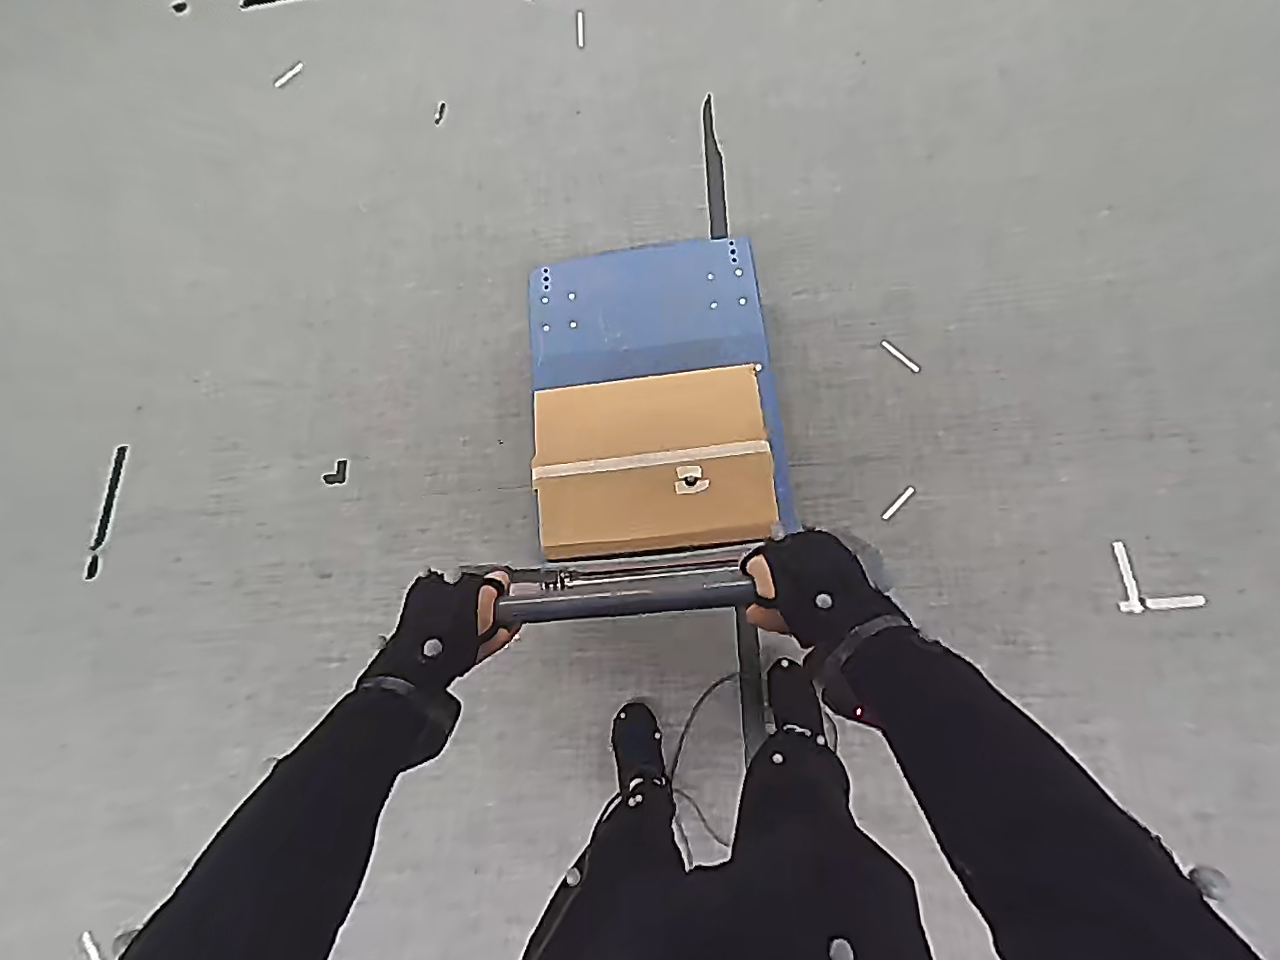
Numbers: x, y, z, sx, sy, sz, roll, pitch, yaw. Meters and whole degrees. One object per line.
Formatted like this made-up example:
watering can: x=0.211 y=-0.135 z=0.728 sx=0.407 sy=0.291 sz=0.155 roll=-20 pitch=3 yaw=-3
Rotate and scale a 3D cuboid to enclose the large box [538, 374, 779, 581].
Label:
large box: x=0.034 y=0.017 z=1.097 sx=0.408 sy=0.320 sz=0.320 roll=-7 pitch=76 yaw=4
